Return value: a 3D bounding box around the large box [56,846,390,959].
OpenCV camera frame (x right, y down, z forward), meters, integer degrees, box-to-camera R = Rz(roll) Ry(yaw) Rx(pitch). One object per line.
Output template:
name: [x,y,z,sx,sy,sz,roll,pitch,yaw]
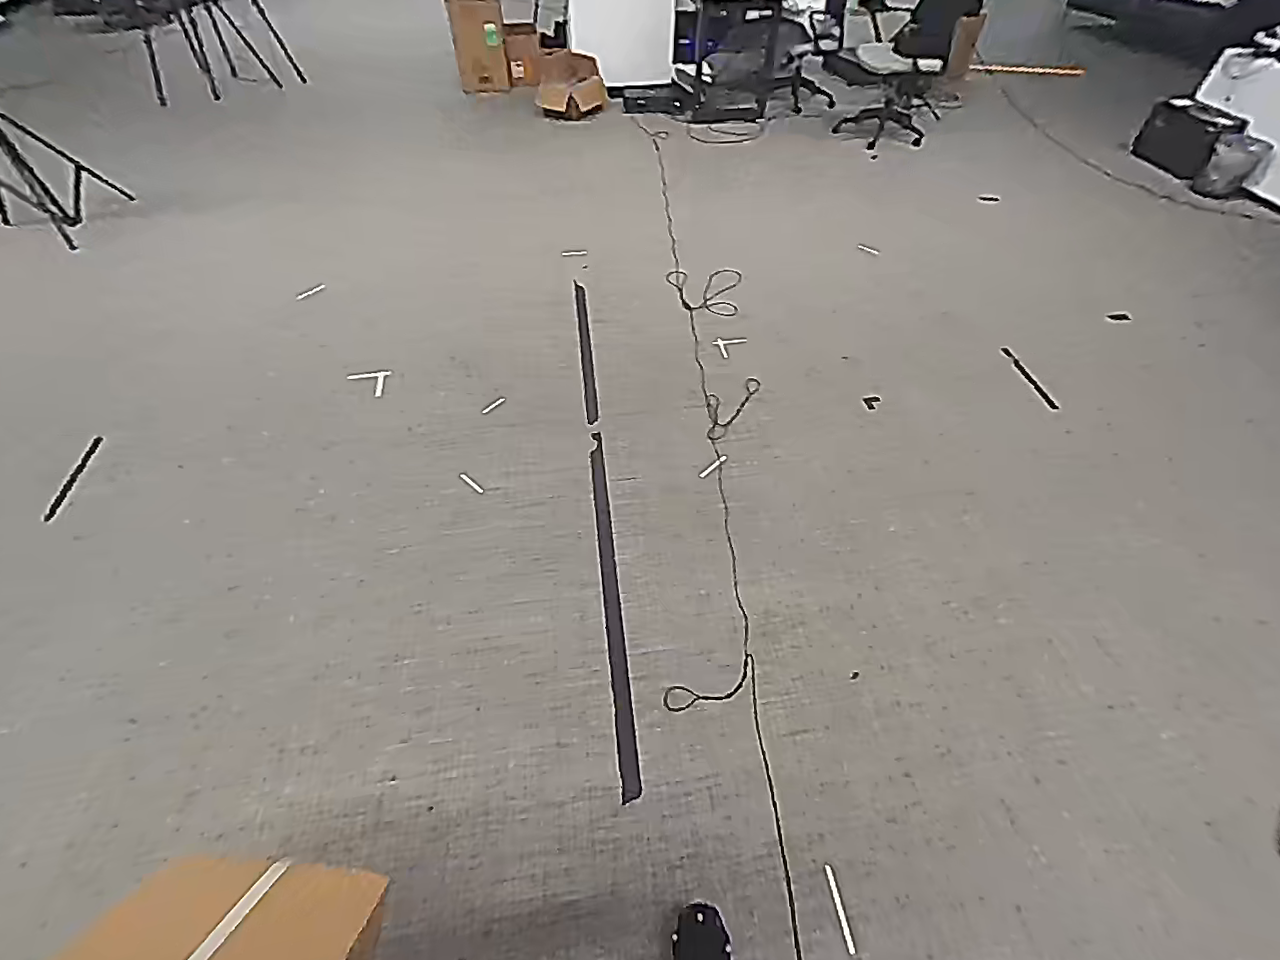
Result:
large box: [-0.545,0.721,0.620,0.320,0.408,0.320,9,88,-2]
